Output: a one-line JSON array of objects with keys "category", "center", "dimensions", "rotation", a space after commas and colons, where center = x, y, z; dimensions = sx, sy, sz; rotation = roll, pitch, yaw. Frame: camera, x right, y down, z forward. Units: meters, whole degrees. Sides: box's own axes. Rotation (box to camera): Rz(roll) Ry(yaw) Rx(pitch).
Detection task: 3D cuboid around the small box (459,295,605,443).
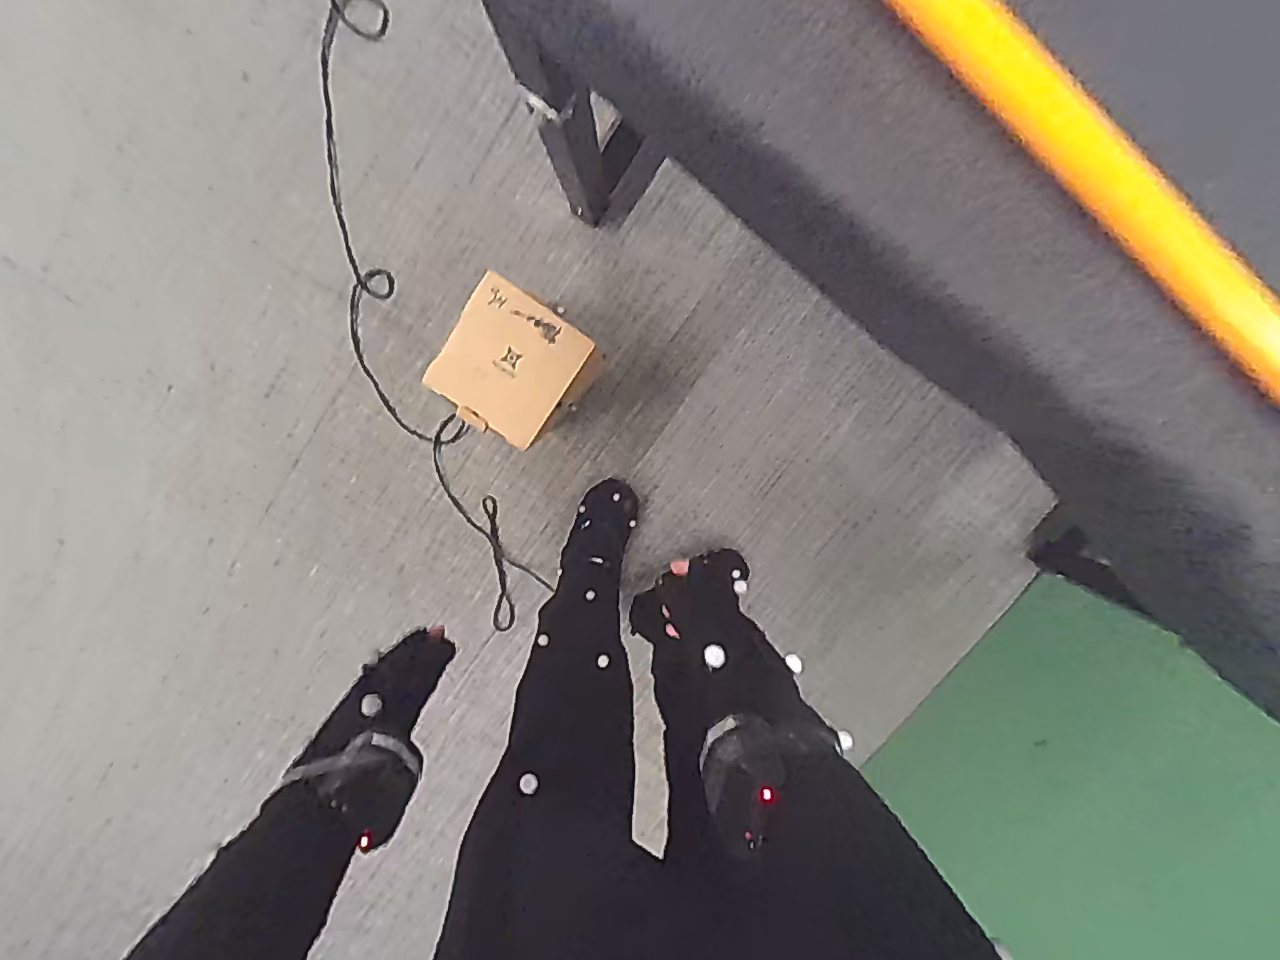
[{"category": "small box", "center": [-0.176, -0.192, 0.943], "dimensions": [0.168, 0.176, 0.179], "rotation": [44, 99, -8]}]
